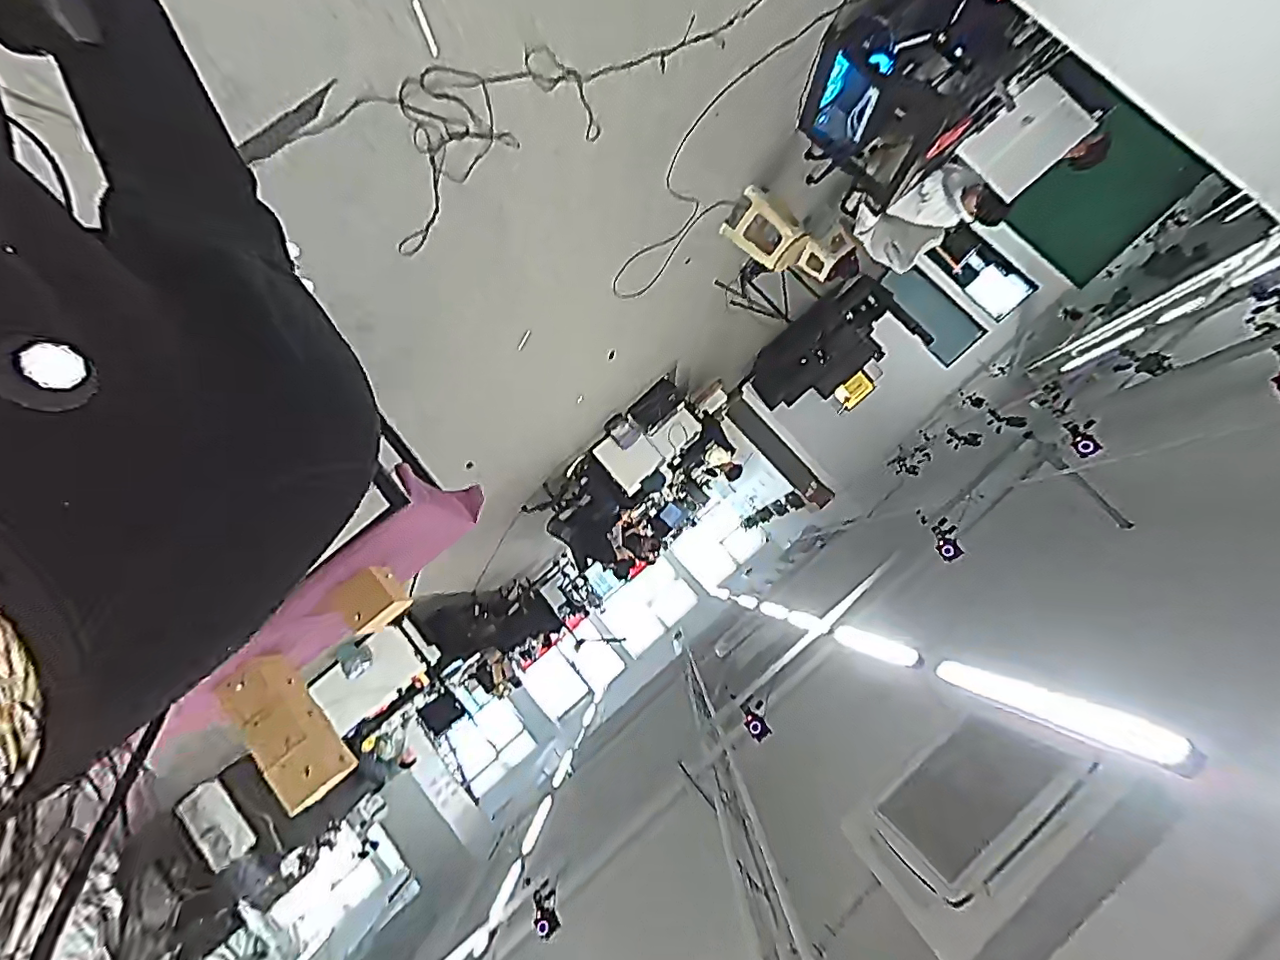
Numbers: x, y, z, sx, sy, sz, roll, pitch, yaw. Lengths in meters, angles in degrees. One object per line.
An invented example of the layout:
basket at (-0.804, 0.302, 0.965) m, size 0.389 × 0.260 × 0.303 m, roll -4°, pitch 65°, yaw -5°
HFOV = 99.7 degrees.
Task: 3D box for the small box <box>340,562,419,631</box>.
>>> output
small box at (-0.948, 0.421, 1.955) m, size 0.179 × 0.176 × 0.168 m, roll -40°, pitch 172°, yaw -8°

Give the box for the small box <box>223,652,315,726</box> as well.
small box at (-1.309, 0.730, 1.913) m, size 0.168 × 0.176 × 0.179 m, roll -41°, pitch 171°, yaw -8°

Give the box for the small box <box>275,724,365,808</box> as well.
small box at (-1.096, 0.971, 1.853) m, size 0.168 × 0.176 × 0.179 m, roll -41°, pitch 172°, yaw -10°

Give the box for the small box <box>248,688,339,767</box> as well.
small box at (-1.202, 0.851, 1.884) m, size 0.168 × 0.176 × 0.179 m, roll -40°, pitch 172°, yaw -10°
